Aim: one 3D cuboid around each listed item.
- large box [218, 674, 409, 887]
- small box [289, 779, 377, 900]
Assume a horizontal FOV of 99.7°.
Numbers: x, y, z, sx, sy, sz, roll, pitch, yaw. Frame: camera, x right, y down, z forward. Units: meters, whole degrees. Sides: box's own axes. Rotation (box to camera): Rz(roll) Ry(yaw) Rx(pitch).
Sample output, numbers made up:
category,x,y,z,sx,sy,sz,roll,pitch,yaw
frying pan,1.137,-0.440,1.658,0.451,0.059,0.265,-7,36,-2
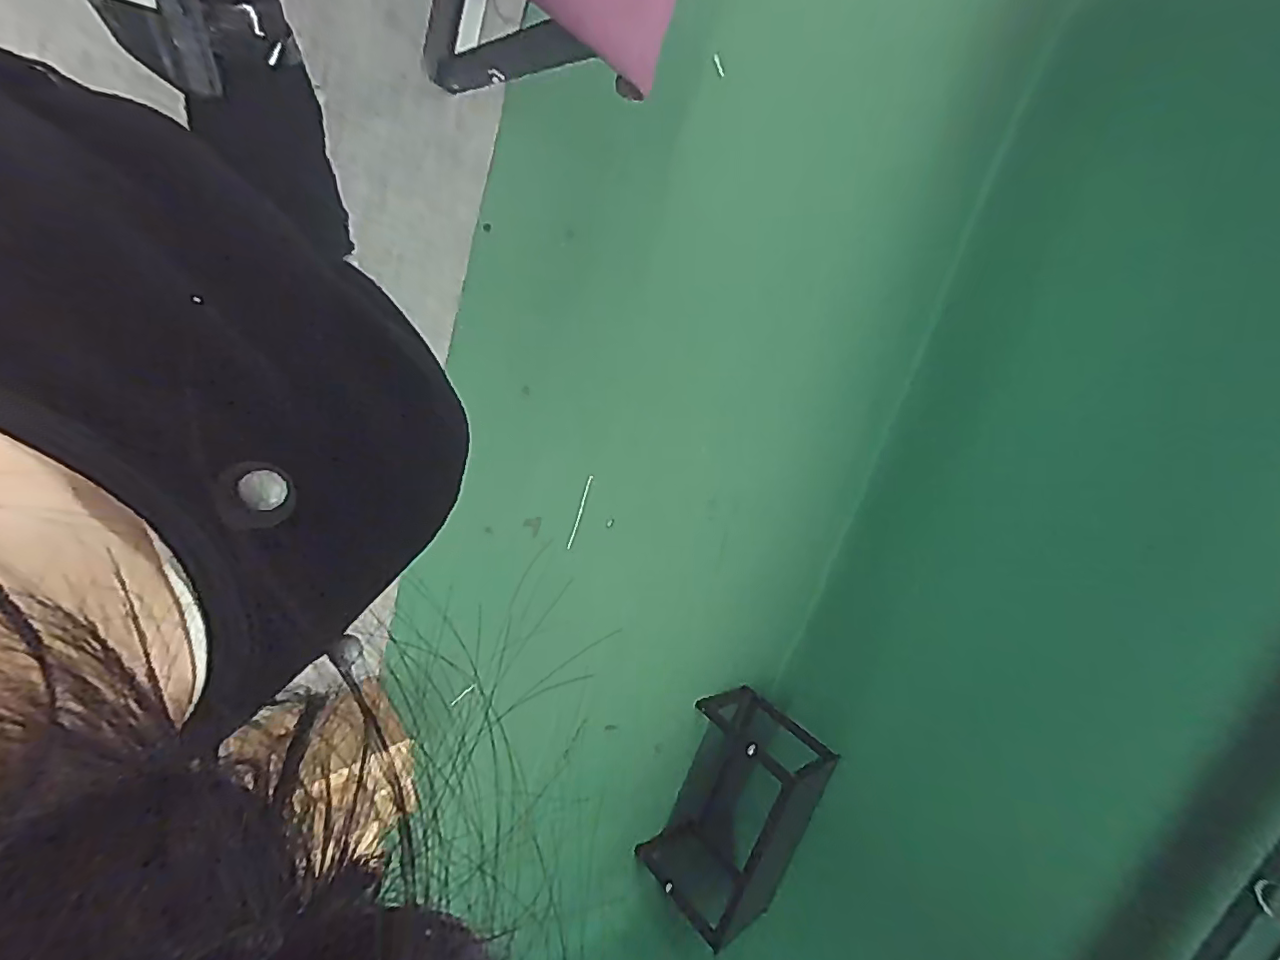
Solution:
category,x,y,z,sx,sy,sz,roll,pitch,yaw
large box,-0.953,0.856,1.601,0.408,0.320,0.320,-14,122,-42
small box,-0.804,0.921,1.411,0.168,0.176,0.179,-6,115,-42
